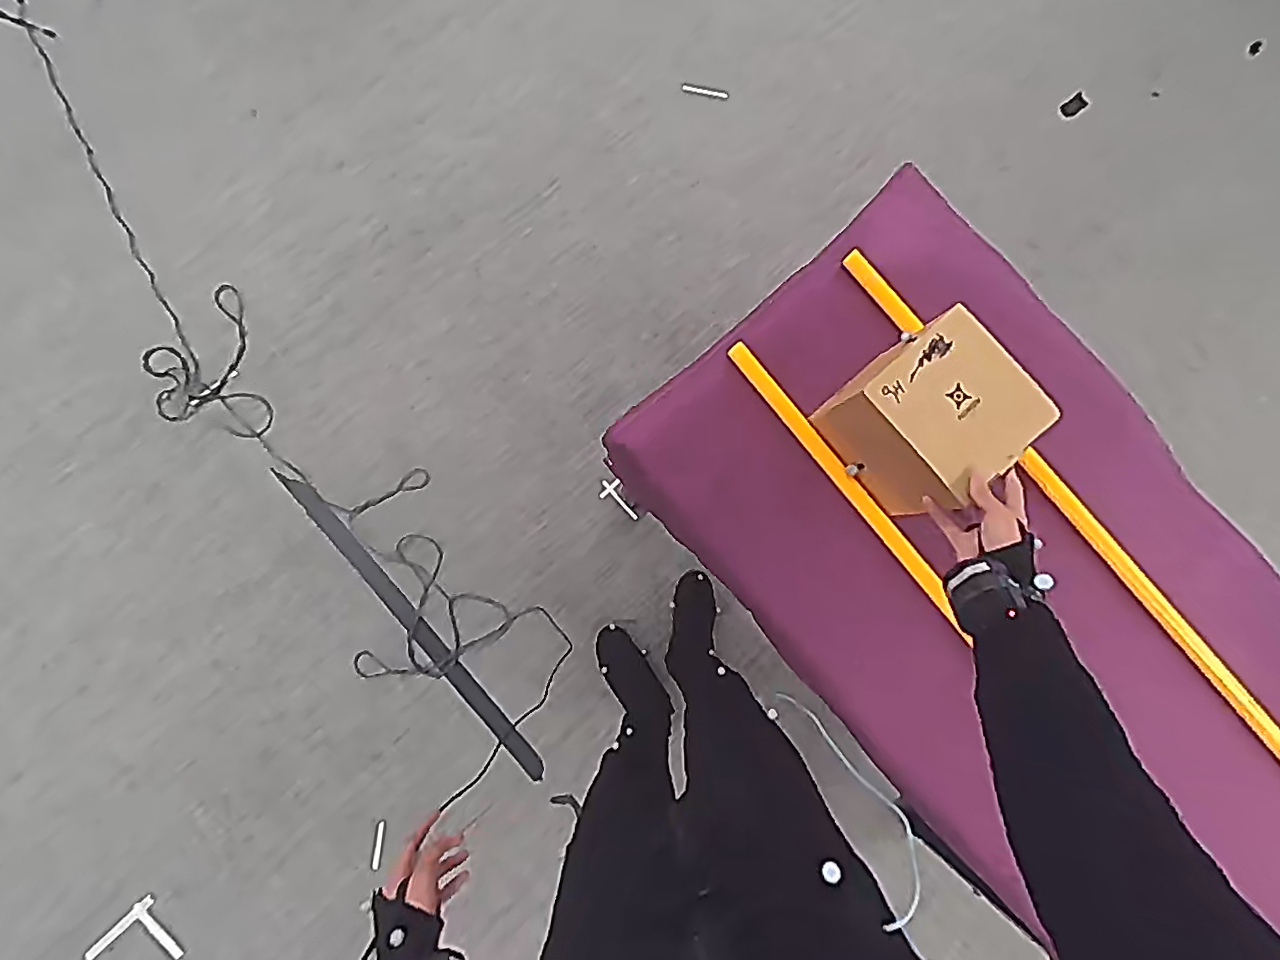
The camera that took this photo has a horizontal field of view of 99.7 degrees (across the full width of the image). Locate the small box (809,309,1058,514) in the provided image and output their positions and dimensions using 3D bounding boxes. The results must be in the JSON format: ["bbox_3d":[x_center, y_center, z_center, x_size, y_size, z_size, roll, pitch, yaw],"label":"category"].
[{"bbox_3d":[0.351,-0.073,0.681,0.168,0.176,0.179,-40,89,-8],"label":"small box"}]
